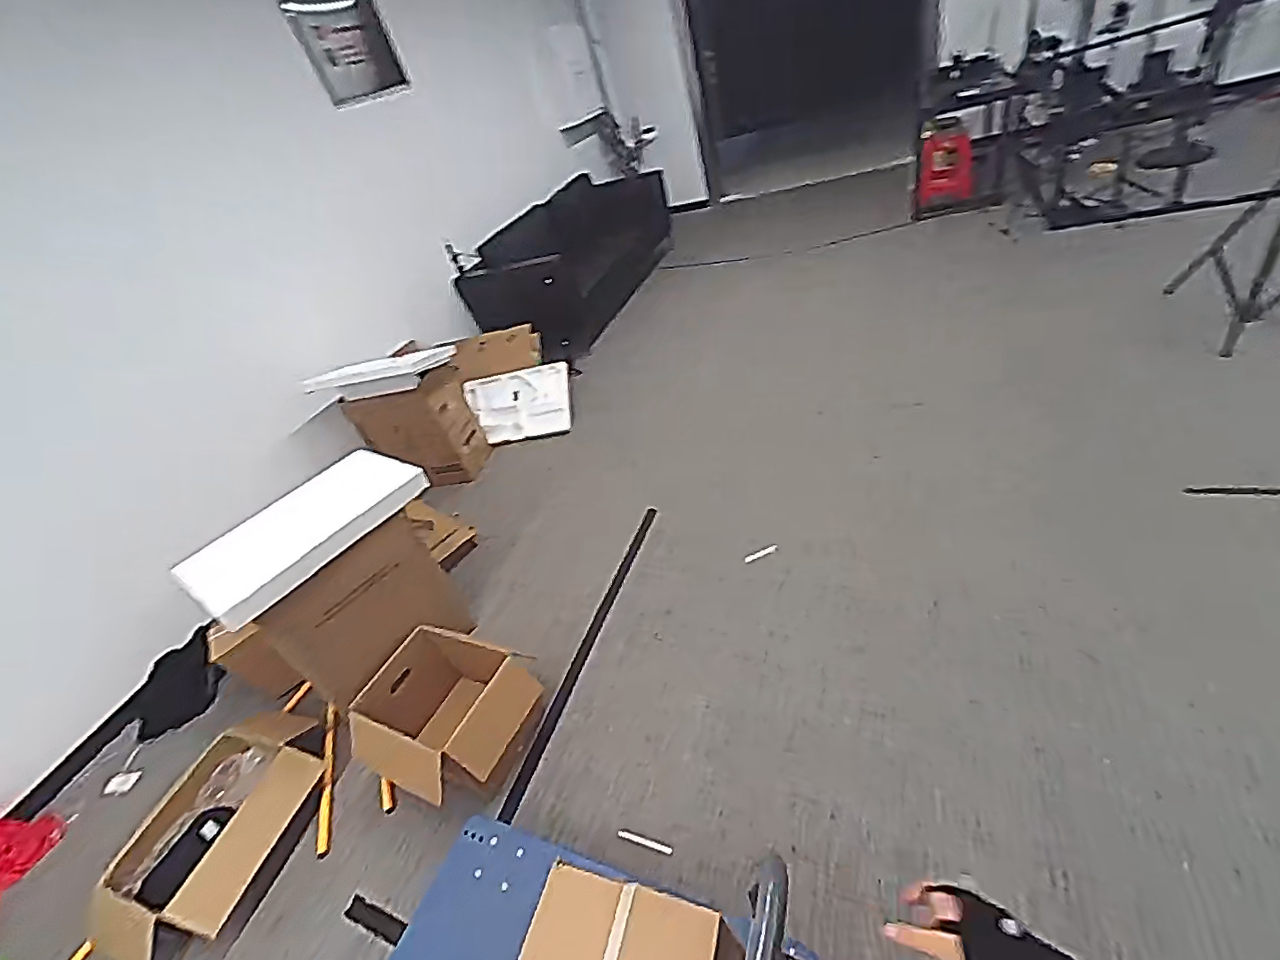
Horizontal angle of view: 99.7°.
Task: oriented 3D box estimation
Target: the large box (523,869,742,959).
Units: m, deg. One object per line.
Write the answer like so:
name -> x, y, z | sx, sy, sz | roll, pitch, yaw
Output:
large box -> -0.029, 0.937, 0.857 | 0.320, 0.320, 0.408 | -1, 39, 23
